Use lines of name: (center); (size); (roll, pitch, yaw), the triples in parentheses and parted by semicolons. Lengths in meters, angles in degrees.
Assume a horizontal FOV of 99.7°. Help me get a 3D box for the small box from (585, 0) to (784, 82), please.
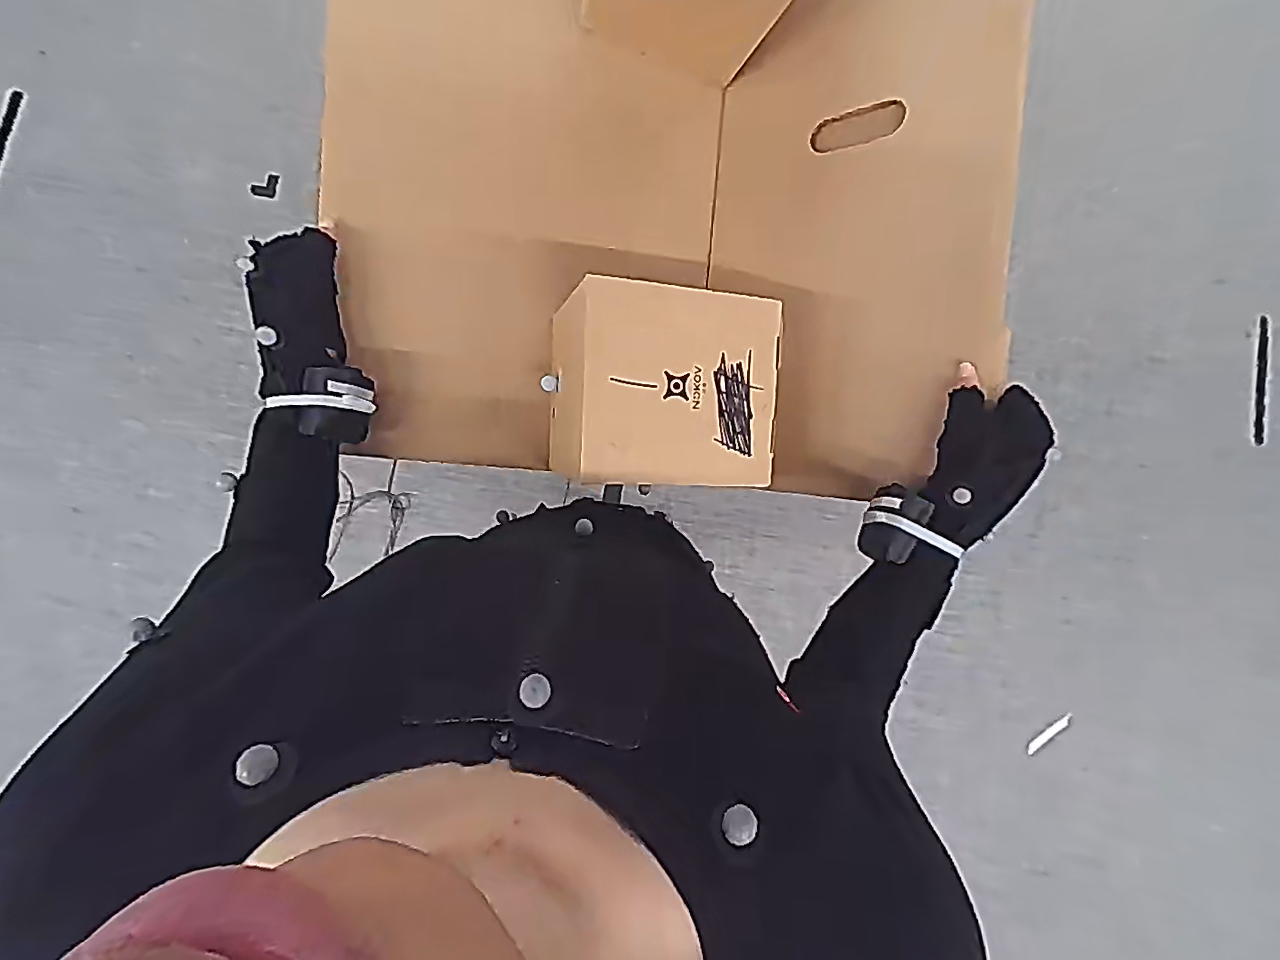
small box: (0.055, -0.528, 0.511); (0.179, 0.176, 0.168); (8, 92, -20)
